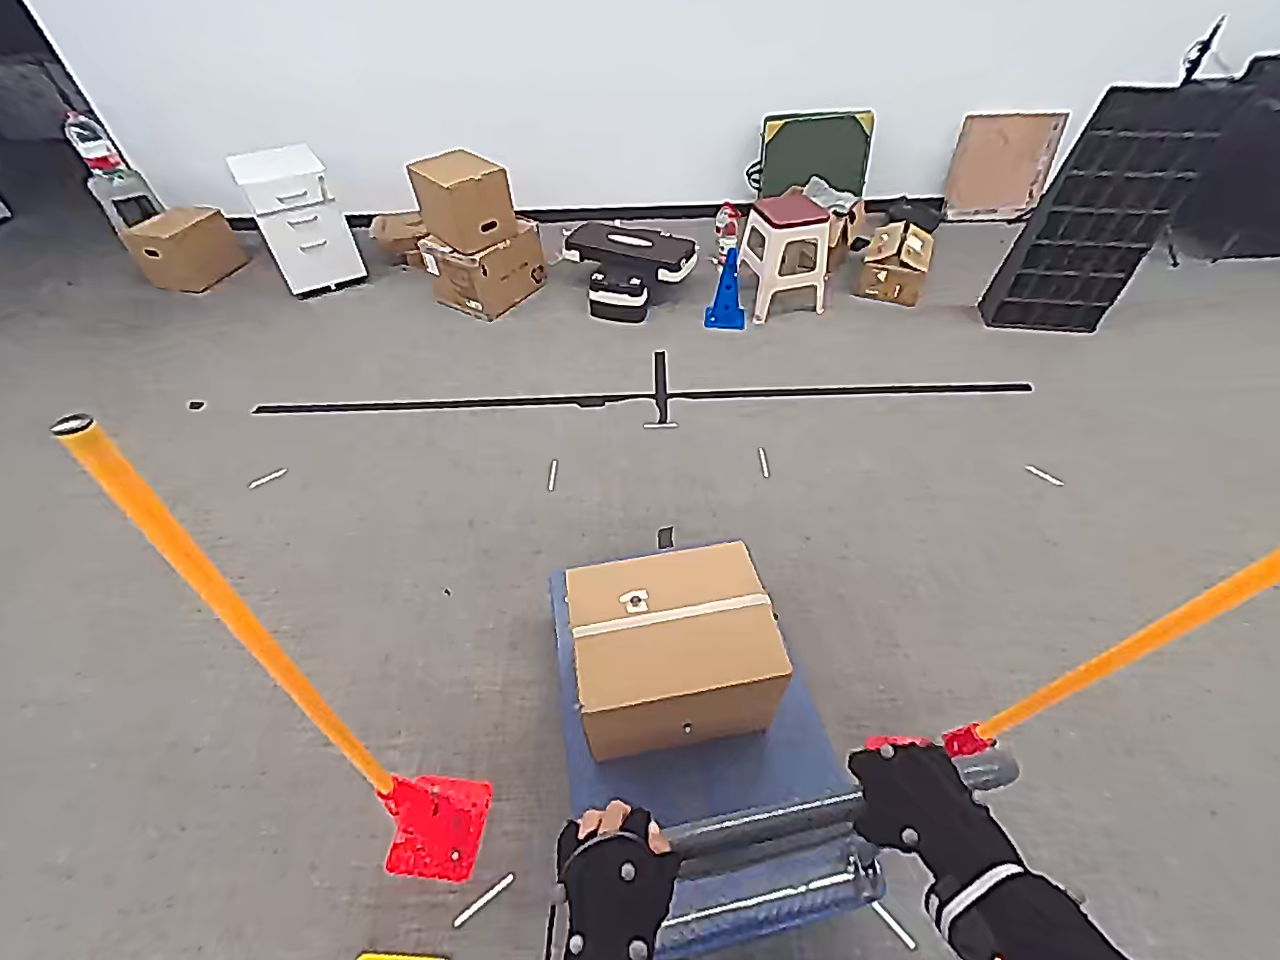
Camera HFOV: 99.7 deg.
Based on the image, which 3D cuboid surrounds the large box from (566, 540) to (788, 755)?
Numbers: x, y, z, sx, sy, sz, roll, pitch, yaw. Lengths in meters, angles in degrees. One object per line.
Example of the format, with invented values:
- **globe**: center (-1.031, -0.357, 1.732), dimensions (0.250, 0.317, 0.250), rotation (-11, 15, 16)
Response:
- **large box**: center (0.066, 0.376, 1.209), dimensions (0.408, 0.320, 0.320), rotation (-9, 48, -6)

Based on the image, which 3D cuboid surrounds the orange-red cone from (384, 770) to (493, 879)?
- **orange-red cone**: center (-0.463, 0.683, 1.140), dimensions (0.198, 0.360, 0.199), rotation (5, 46, 5)
